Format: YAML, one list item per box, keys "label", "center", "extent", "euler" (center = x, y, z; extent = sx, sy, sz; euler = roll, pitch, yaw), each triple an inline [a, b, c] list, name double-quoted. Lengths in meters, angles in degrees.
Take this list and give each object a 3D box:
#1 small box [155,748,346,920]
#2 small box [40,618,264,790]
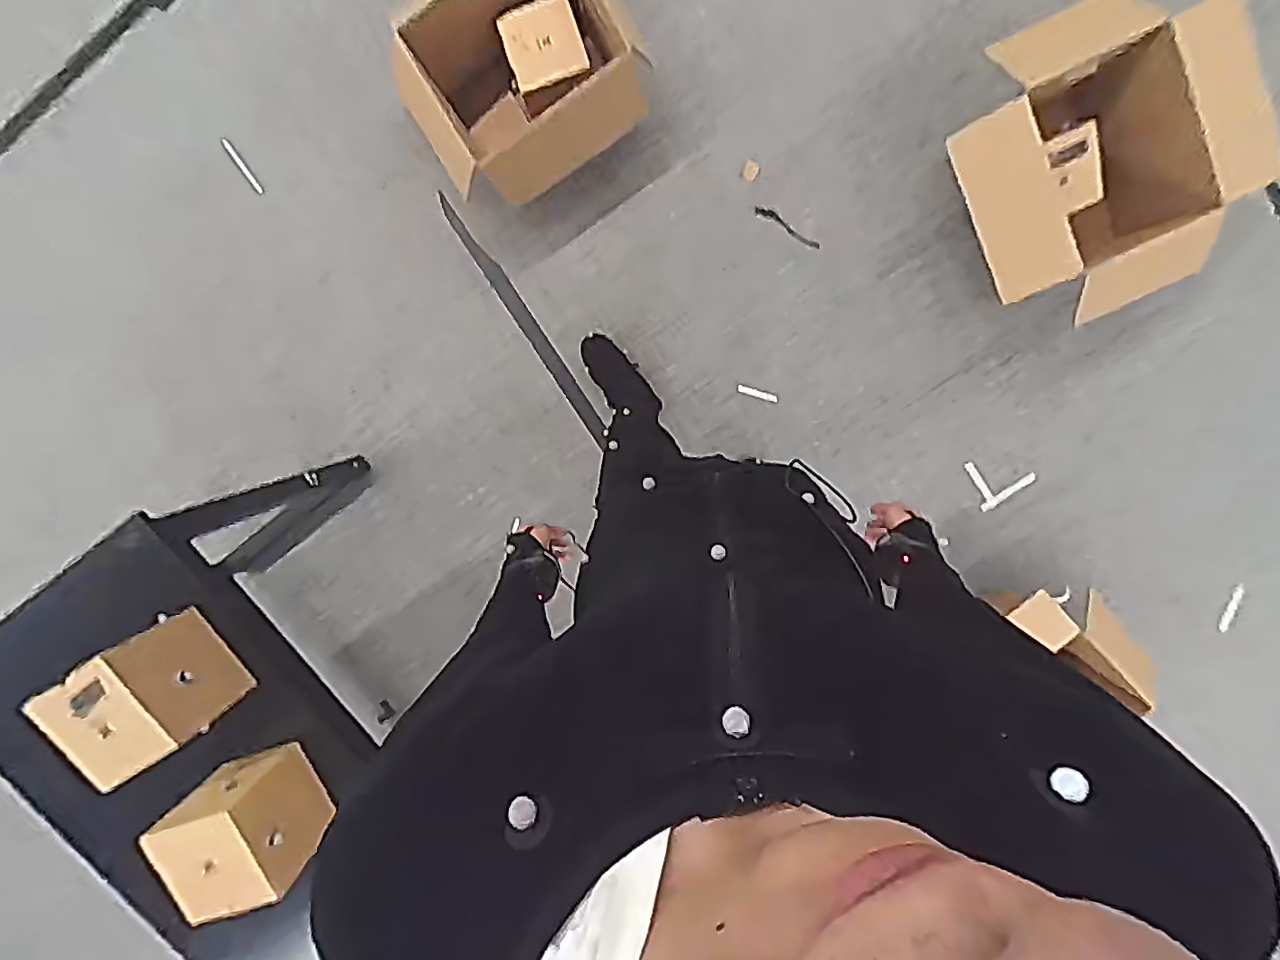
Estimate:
- label: "small box"
  center: [-0.660, 0.599, 0.940]
  extent: [0.168, 0.176, 0.179]
  euler: [-21, 101, 7]
- label: "small box"
  center: [-0.786, 0.353, 0.892]
  extent: [0.168, 0.176, 0.179]
  euler: [-32, 100, 9]
